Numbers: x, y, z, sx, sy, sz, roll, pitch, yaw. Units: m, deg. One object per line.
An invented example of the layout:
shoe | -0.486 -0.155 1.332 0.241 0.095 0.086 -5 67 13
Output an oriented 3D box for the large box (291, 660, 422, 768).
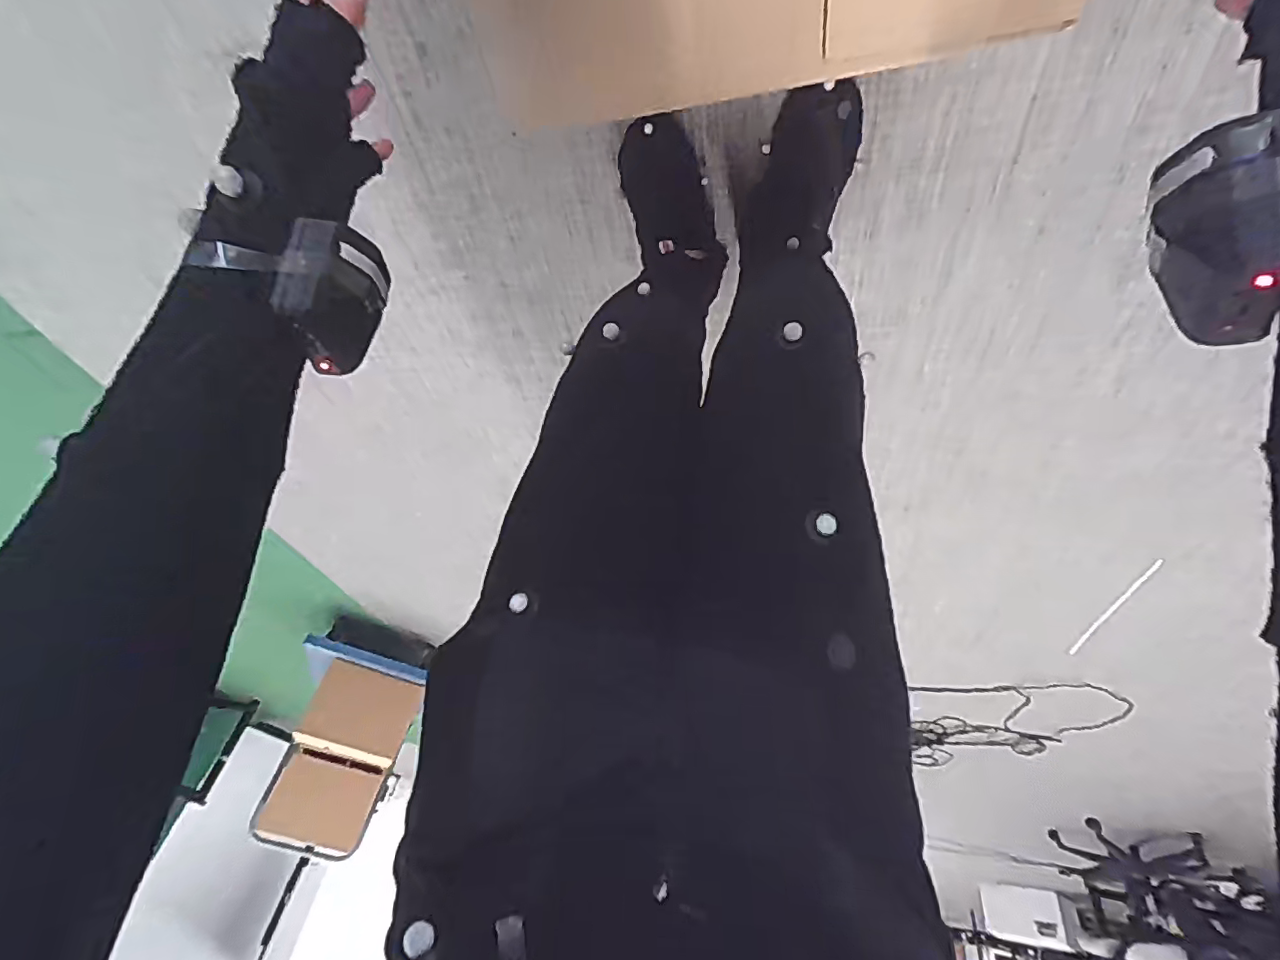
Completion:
large box | -1.227 1.032 2.371 0.408 0.320 0.320 26 141 -13
